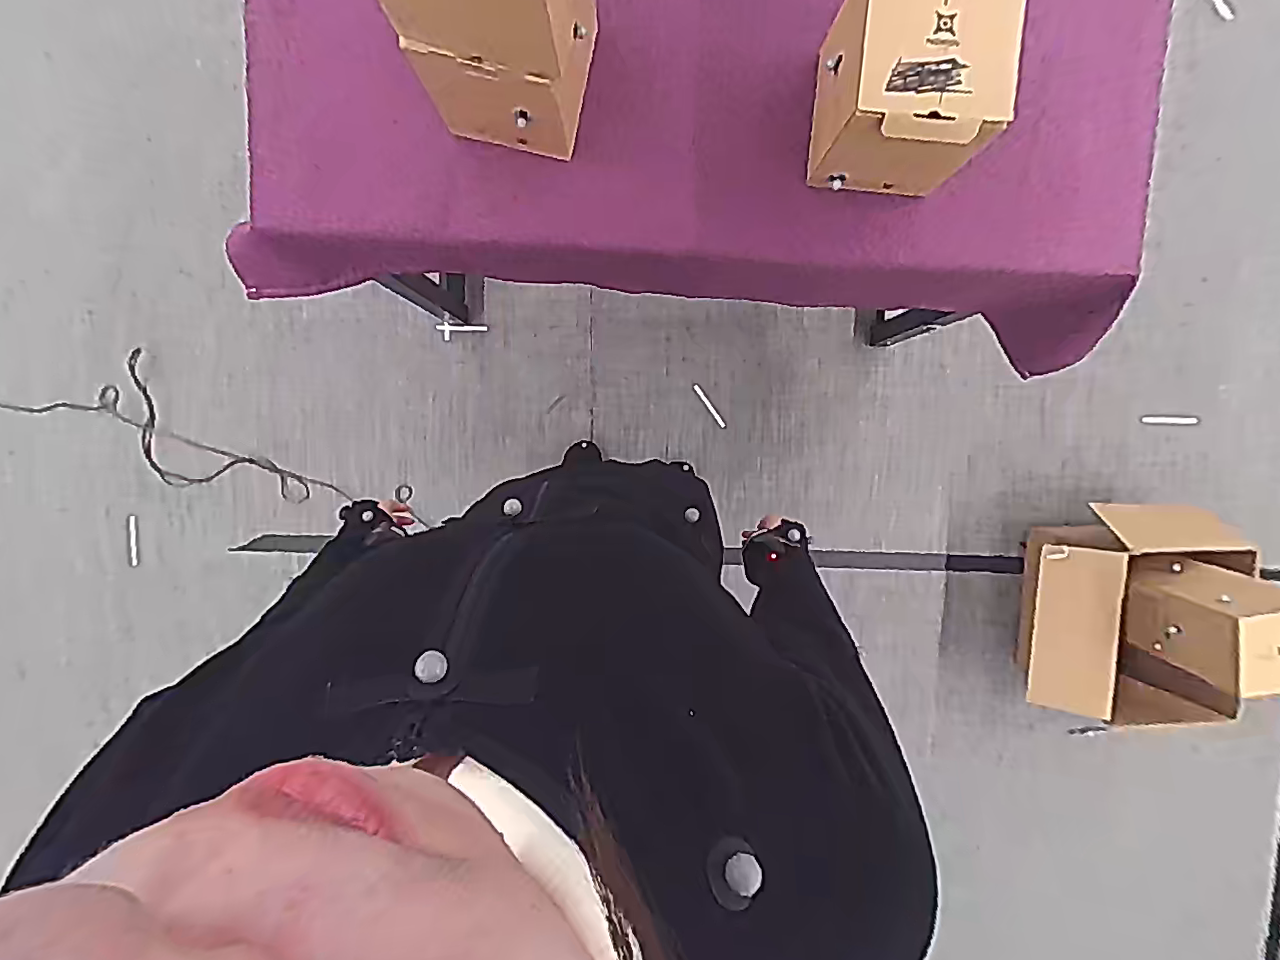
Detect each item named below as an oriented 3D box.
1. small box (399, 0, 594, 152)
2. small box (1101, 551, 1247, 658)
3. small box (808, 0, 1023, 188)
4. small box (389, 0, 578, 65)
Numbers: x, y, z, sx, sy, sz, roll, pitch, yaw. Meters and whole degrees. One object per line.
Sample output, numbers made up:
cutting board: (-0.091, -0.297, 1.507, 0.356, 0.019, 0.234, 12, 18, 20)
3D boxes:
small box: (-0.153, -0.524, 0.632, 0.168, 0.176, 0.179, 13, 94, -2)
small box: (1.234, 0.279, 1.264, 0.168, 0.176, 0.179, -20, 99, 3)
small box: (0.309, -0.473, 0.639, 0.168, 0.176, 0.179, 5, 94, -1)
small box: (-0.144, -0.510, 0.468, 0.179, 0.176, 0.168, 14, 95, -3)
